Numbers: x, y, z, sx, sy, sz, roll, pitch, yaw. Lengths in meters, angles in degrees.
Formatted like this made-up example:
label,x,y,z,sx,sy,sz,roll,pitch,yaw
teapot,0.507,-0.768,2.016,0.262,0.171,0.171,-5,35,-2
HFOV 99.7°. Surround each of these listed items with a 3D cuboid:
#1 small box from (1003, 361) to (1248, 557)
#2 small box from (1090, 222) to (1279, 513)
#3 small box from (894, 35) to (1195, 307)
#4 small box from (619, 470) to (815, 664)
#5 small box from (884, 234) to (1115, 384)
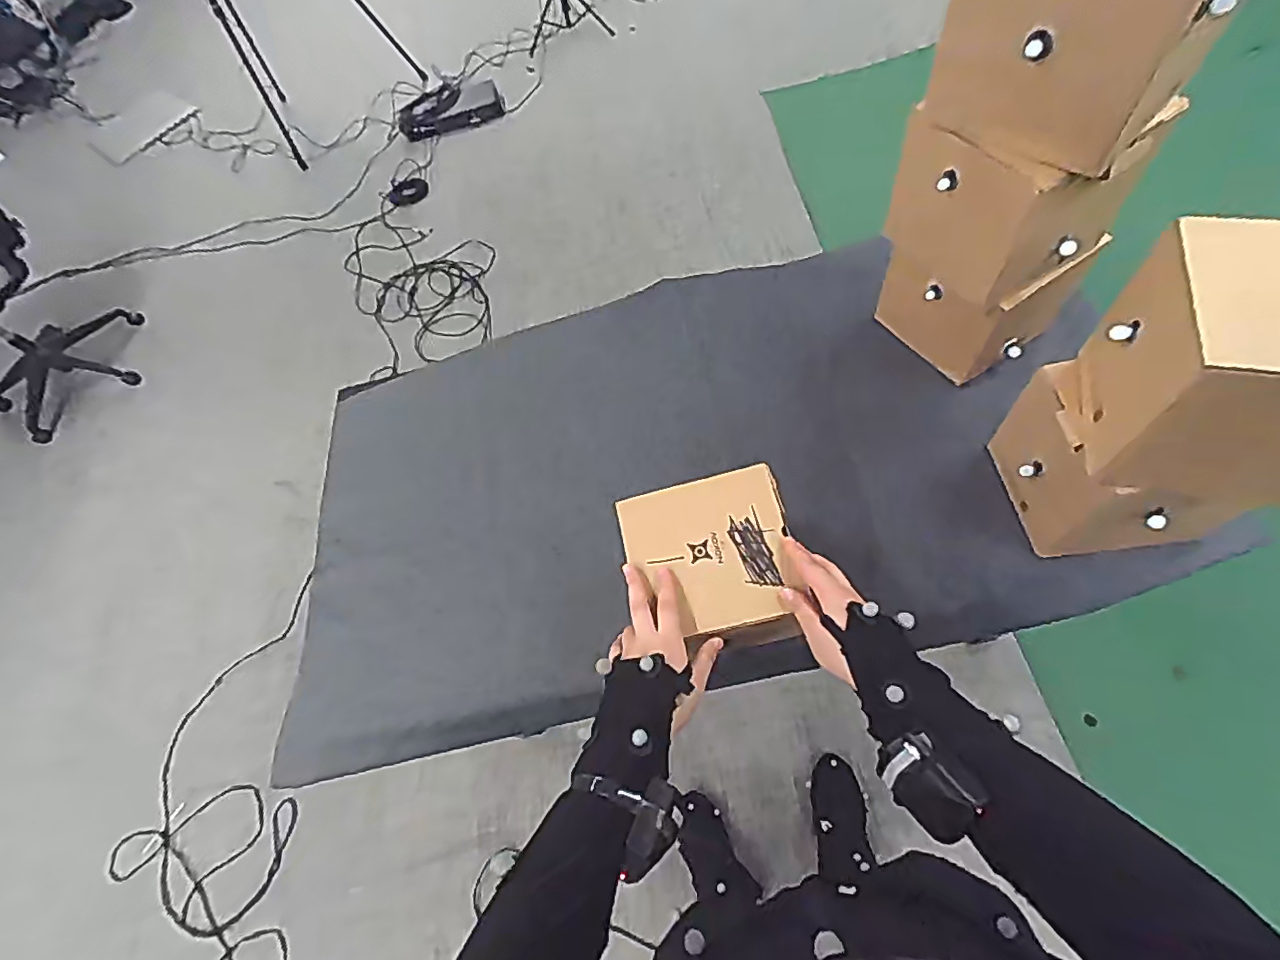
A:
label,x,y,z,sx,sy,sz,roll,pitch,yaw
small box,0.542,-0.023,0.603,0.179,0.176,0.168,-8,60,9
small box,0.516,-0.088,0.455,0.179,0.176,0.168,11,64,17
small box,0.414,-0.331,0.599,0.168,0.176,0.179,-31,62,0
small box,0.088,0.111,0.635,0.179,0.176,0.168,-15,64,6
small box,0.468,-0.267,0.743,0.168,0.176,0.179,-34,64,-3
